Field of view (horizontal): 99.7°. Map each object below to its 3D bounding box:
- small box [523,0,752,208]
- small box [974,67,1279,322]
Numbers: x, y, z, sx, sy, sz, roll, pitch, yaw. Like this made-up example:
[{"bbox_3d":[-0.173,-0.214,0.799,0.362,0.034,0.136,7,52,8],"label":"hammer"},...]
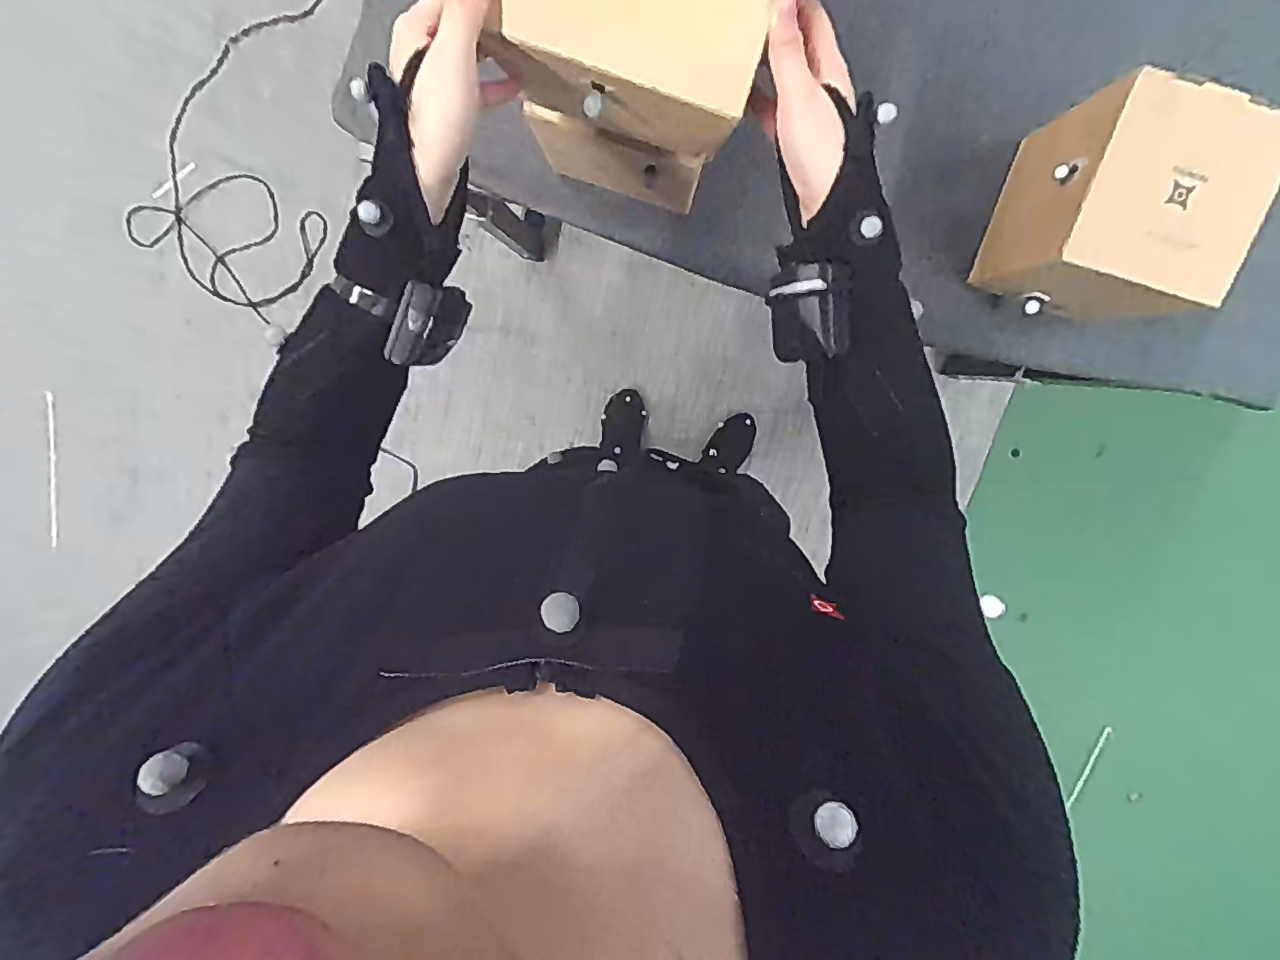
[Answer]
[{"bbox_3d":[-0.002,-0.410,0.571,0.179,0.176,0.168,17,102,-2],"label":"small box"},{"bbox_3d":[0.504,-0.283,0.581,0.168,0.176,0.179,16,101,-1],"label":"small box"}]
